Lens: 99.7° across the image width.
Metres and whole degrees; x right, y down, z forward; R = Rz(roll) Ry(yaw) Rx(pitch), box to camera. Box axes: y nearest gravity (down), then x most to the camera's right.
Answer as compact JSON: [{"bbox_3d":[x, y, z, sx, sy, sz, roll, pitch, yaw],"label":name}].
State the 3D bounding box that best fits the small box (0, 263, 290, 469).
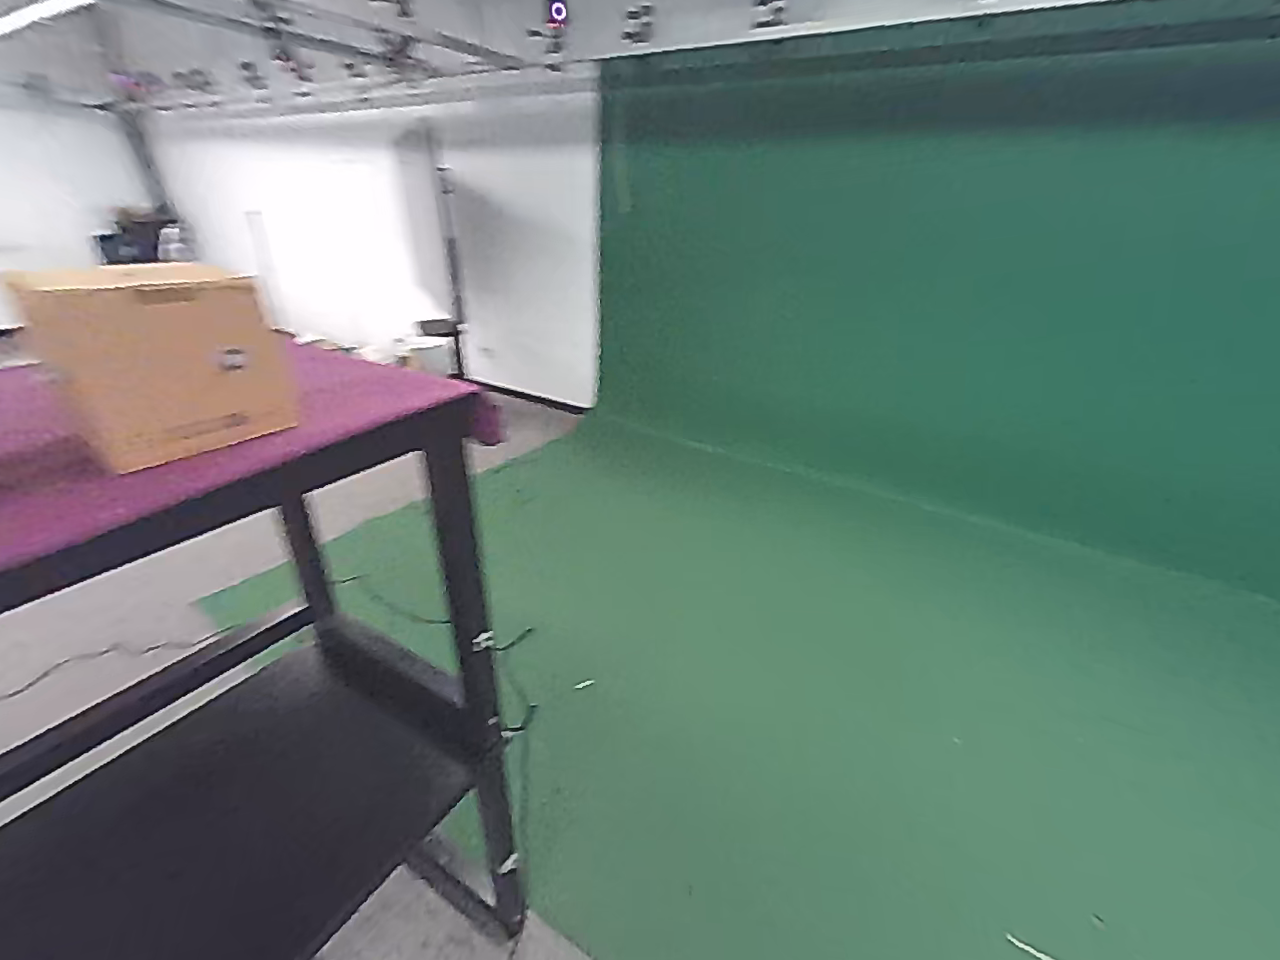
[{"bbox_3d":[-0.506,-0.125,0.567,0.179,0.176,0.168,19,31,31],"label":"small box"}]
